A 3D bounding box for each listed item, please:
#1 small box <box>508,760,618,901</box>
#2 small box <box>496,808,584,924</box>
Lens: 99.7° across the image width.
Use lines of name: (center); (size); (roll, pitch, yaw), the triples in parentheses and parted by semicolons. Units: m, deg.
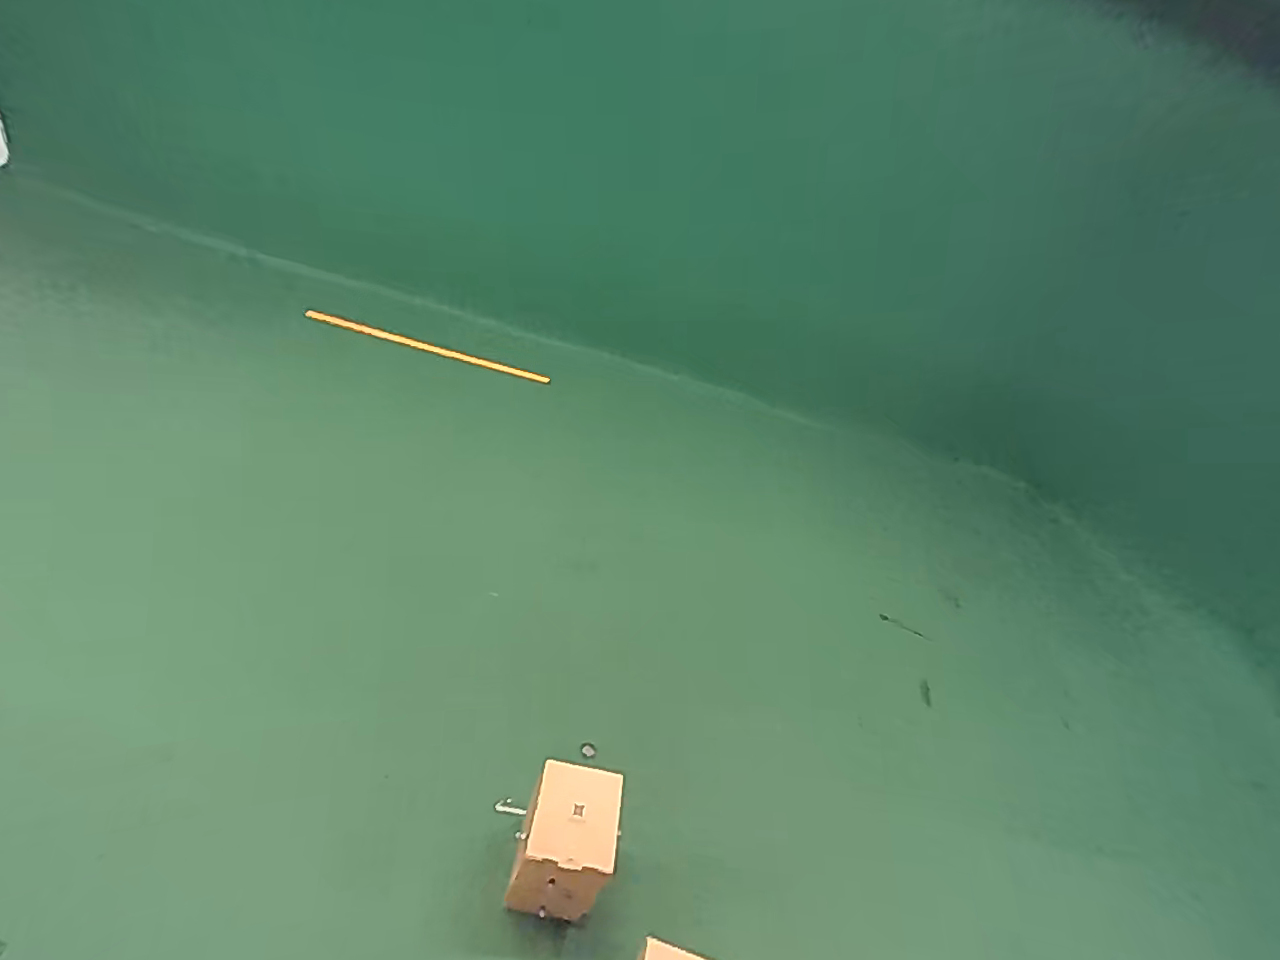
small box: (-0.154, 0.699, 1.078); (0.168, 0.176, 0.179); (17, 37, -7)
small box: (-0.203, 0.821, 1.173); (0.168, 0.176, 0.179); (17, 37, -5)
